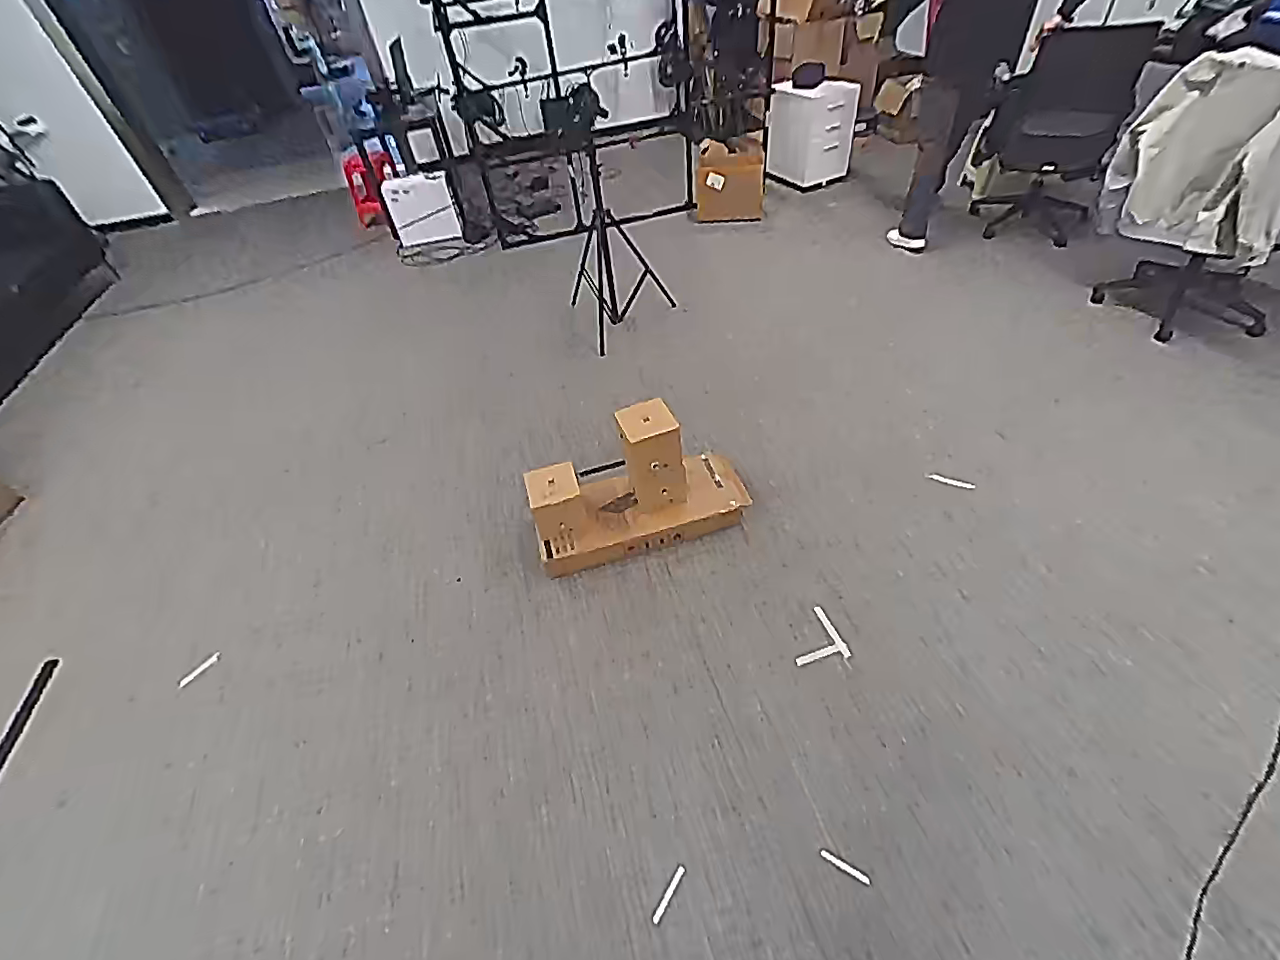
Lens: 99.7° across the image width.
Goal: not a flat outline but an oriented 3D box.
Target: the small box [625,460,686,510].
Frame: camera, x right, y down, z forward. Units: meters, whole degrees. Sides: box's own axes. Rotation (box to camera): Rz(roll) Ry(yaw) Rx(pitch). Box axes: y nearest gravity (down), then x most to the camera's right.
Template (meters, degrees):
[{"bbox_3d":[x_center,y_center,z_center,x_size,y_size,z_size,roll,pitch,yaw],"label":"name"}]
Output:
[{"bbox_3d":[0.054,-0.015,1.870,0.168,0.176,0.179,-17,46,-9],"label":"small box"}]

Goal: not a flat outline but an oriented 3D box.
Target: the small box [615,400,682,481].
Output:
[{"bbox_3d":[0.028,-0.128,1.754,0.168,0.176,0.179,-20,47,-10],"label":"small box"}]
